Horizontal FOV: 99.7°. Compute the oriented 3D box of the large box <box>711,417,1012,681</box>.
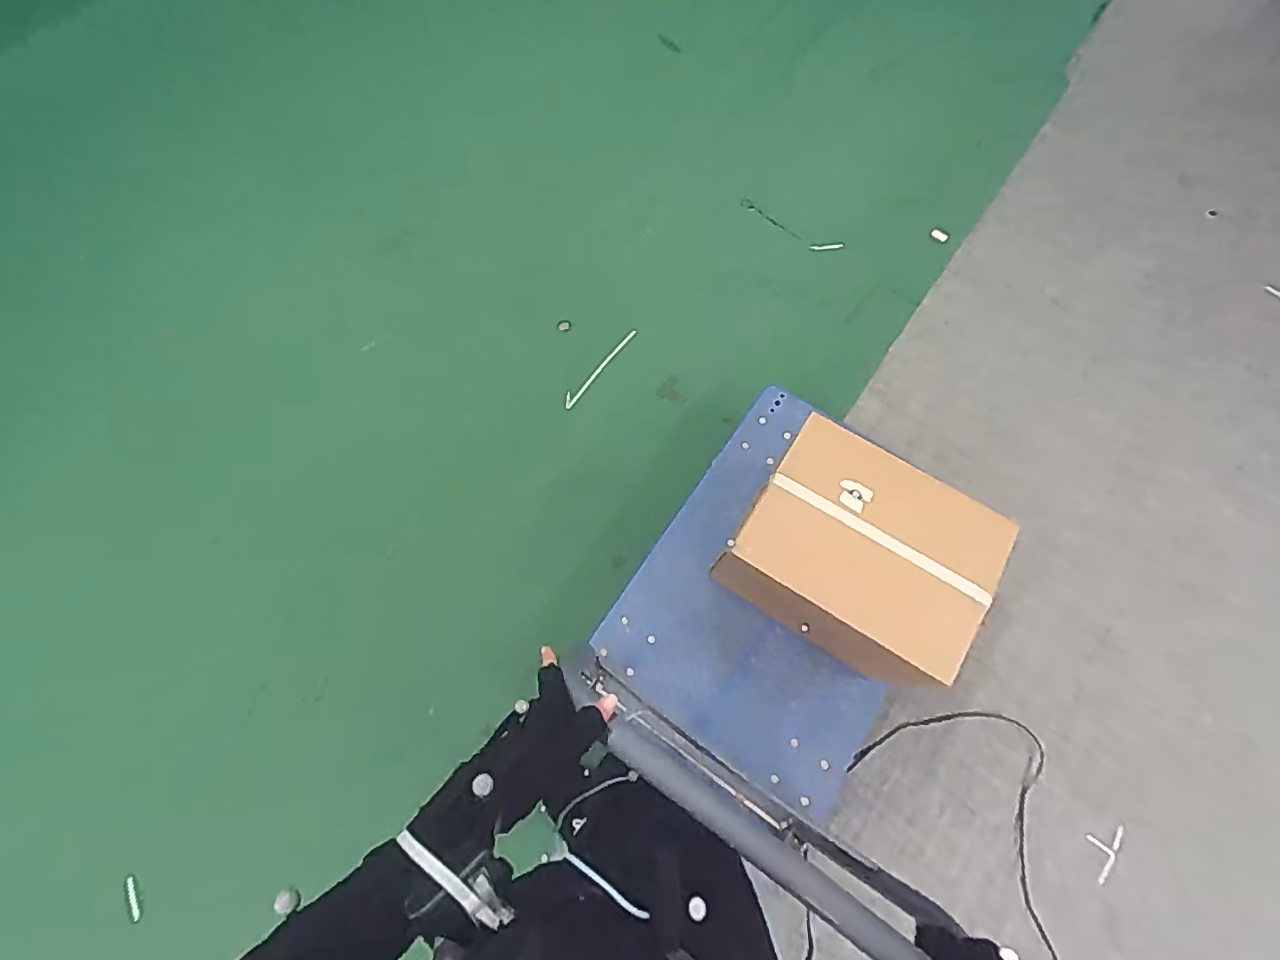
[{"bbox_3d":[0.399,0.147,1.066,0.408,0.320,0.320,32,75,11],"label":"large box"}]
